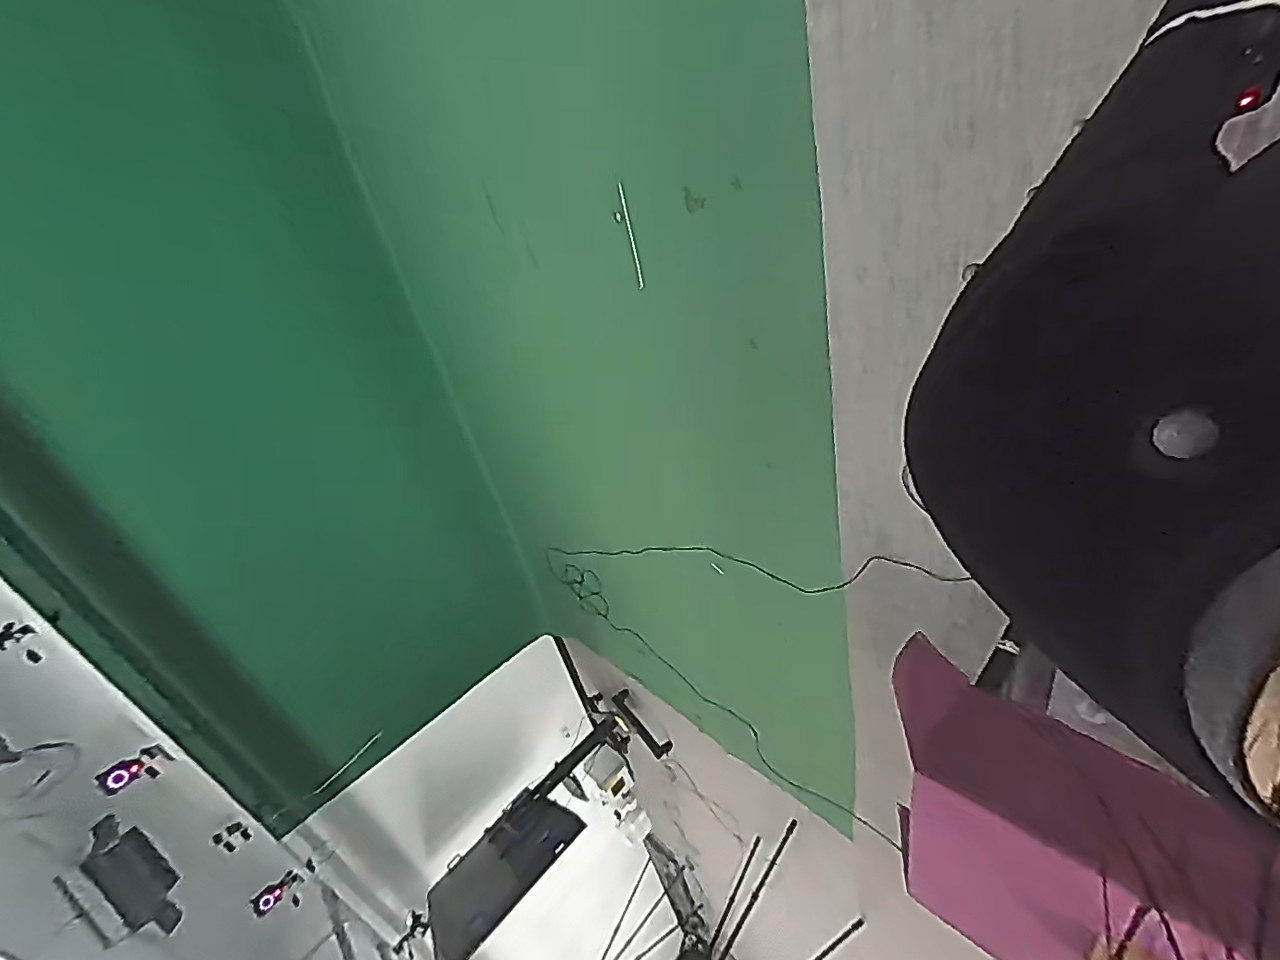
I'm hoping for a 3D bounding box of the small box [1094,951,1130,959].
[{"bbox_3d":[0.911,1.018,0.985,0.179,0.176,0.168,21,134,44],"label":"small box"}]
